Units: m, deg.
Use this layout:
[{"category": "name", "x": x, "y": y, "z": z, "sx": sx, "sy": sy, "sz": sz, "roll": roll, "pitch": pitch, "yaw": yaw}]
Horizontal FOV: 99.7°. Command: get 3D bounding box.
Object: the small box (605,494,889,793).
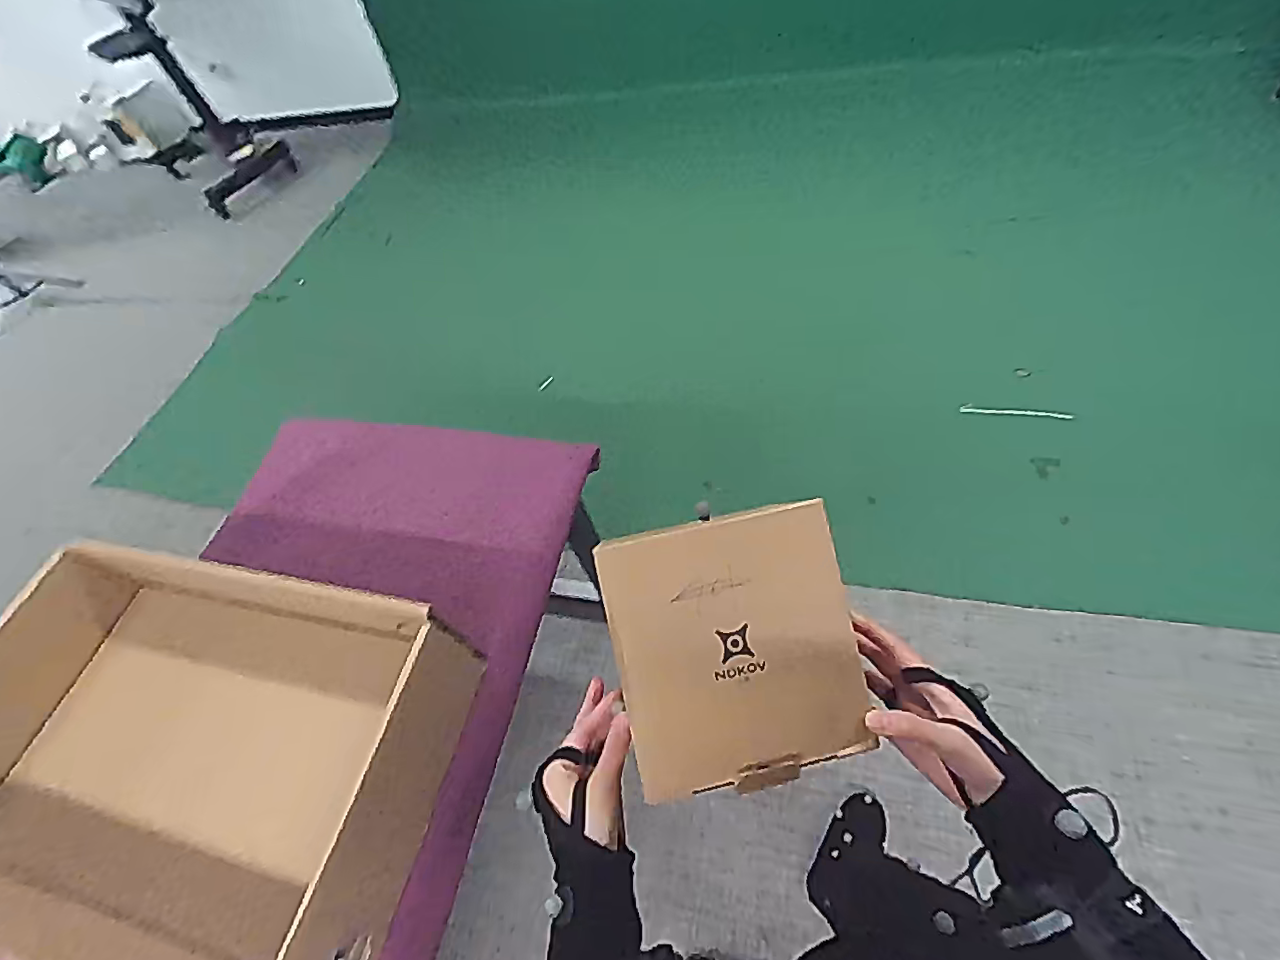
[{"category": "small box", "x": 0.070, "y": 0.114, "z": 0.444, "sx": 0.168, "sy": 0.176, "sz": 0.179, "roll": -11, "pitch": 85, "yaw": -3}]
